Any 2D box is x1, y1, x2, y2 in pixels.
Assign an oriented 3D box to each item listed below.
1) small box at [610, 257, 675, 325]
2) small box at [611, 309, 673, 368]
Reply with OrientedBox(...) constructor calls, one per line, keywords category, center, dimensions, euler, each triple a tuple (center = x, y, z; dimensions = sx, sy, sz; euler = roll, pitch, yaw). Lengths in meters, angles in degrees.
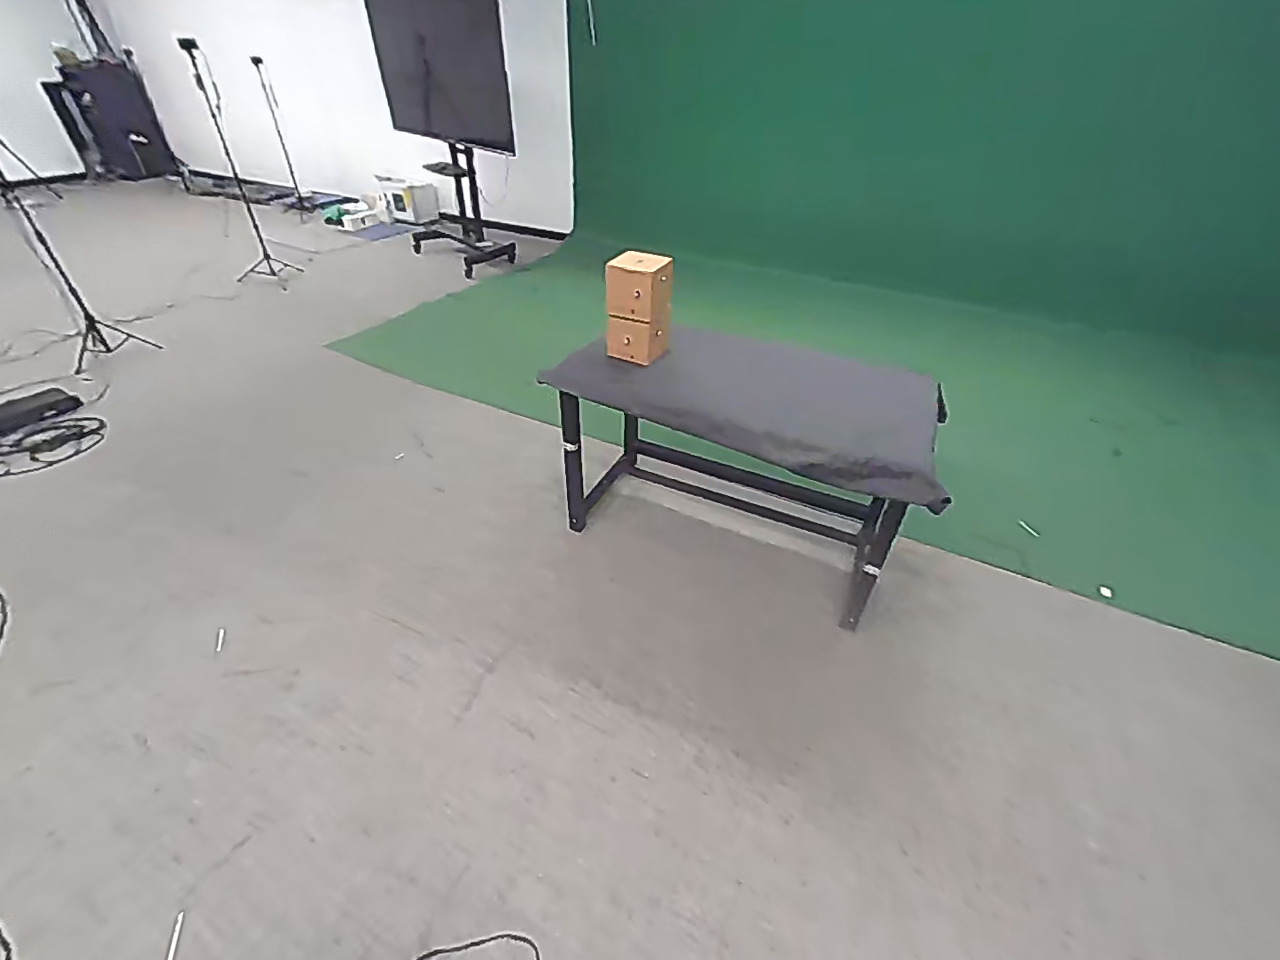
OrientedBox(category="small box", center=(0.008, -0.646, 1.846), dimensions=(0.168, 0.176, 0.179), euler=(19, 40, 18))
OrientedBox(category="small box", center=(0.008, -0.525, 1.957), dimensions=(0.168, 0.176, 0.179), euler=(20, 42, 20))
